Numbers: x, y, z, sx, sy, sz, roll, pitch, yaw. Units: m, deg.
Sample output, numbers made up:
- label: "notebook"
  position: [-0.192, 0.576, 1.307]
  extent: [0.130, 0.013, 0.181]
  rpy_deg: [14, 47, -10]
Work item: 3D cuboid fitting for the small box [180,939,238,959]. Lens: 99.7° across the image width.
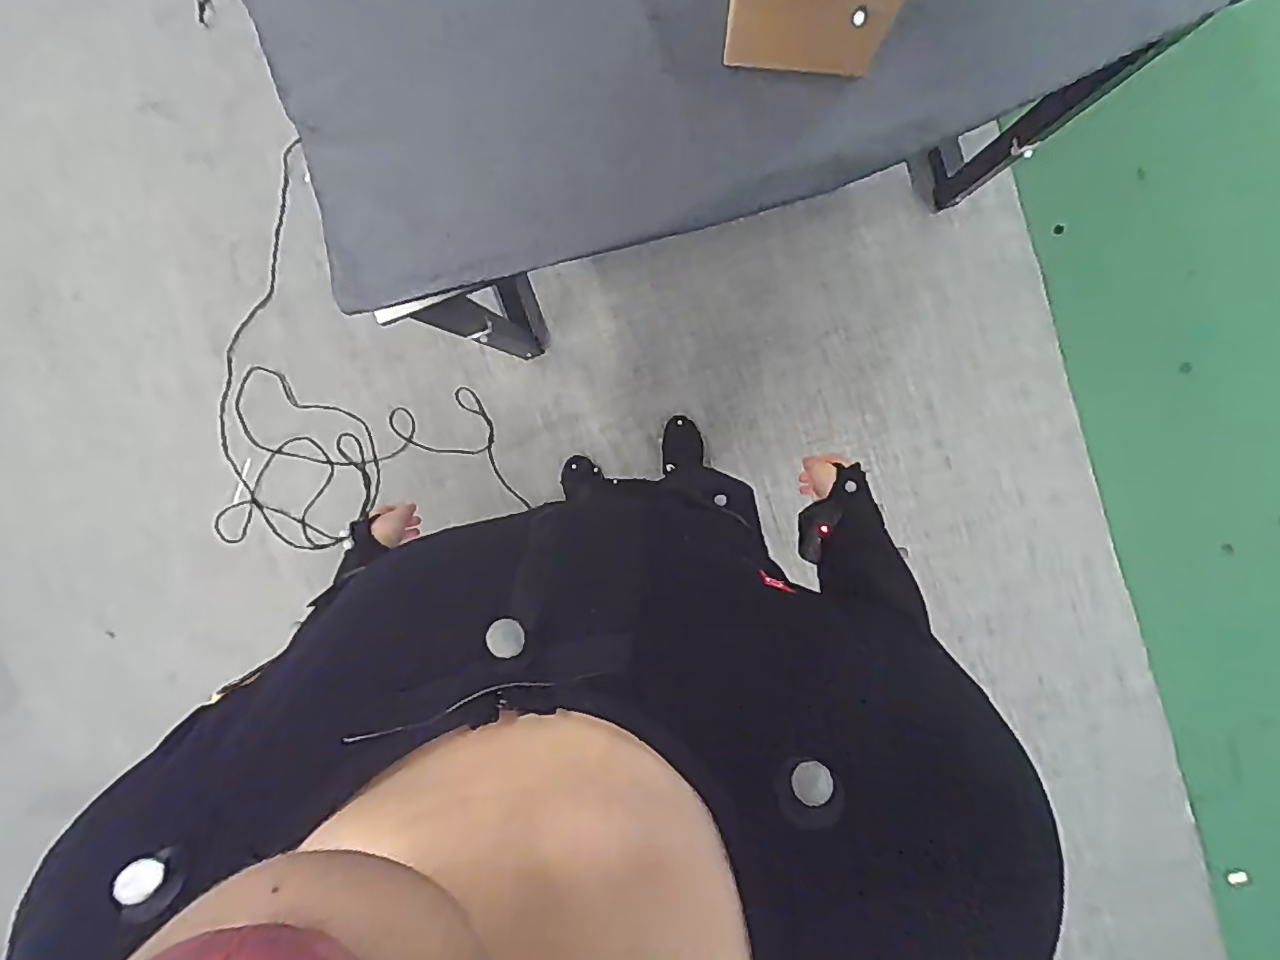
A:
- label: "small box"
  position: [-0.635, 0.789, 0.722]
  extent: [0.168, 0.176, 0.179]
  rpy_deg: [43, 95, -6]
